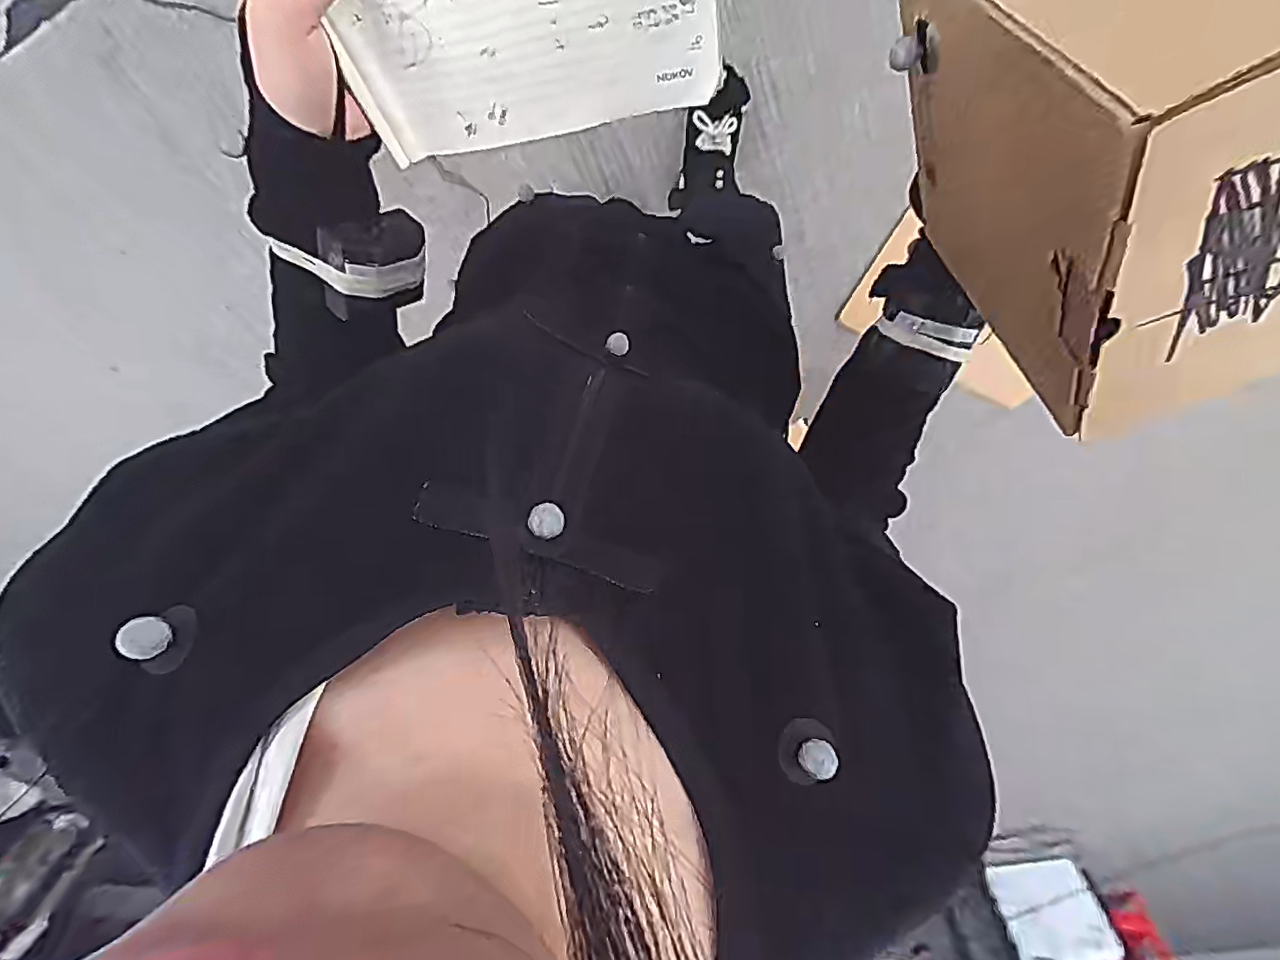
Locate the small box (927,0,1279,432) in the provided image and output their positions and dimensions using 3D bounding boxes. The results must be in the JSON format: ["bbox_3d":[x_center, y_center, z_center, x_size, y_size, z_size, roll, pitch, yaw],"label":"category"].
[{"bbox_3d":[0.230,-0.154,0.204,0.179,0.176,0.168,-24,144,21],"label":"small box"}]
